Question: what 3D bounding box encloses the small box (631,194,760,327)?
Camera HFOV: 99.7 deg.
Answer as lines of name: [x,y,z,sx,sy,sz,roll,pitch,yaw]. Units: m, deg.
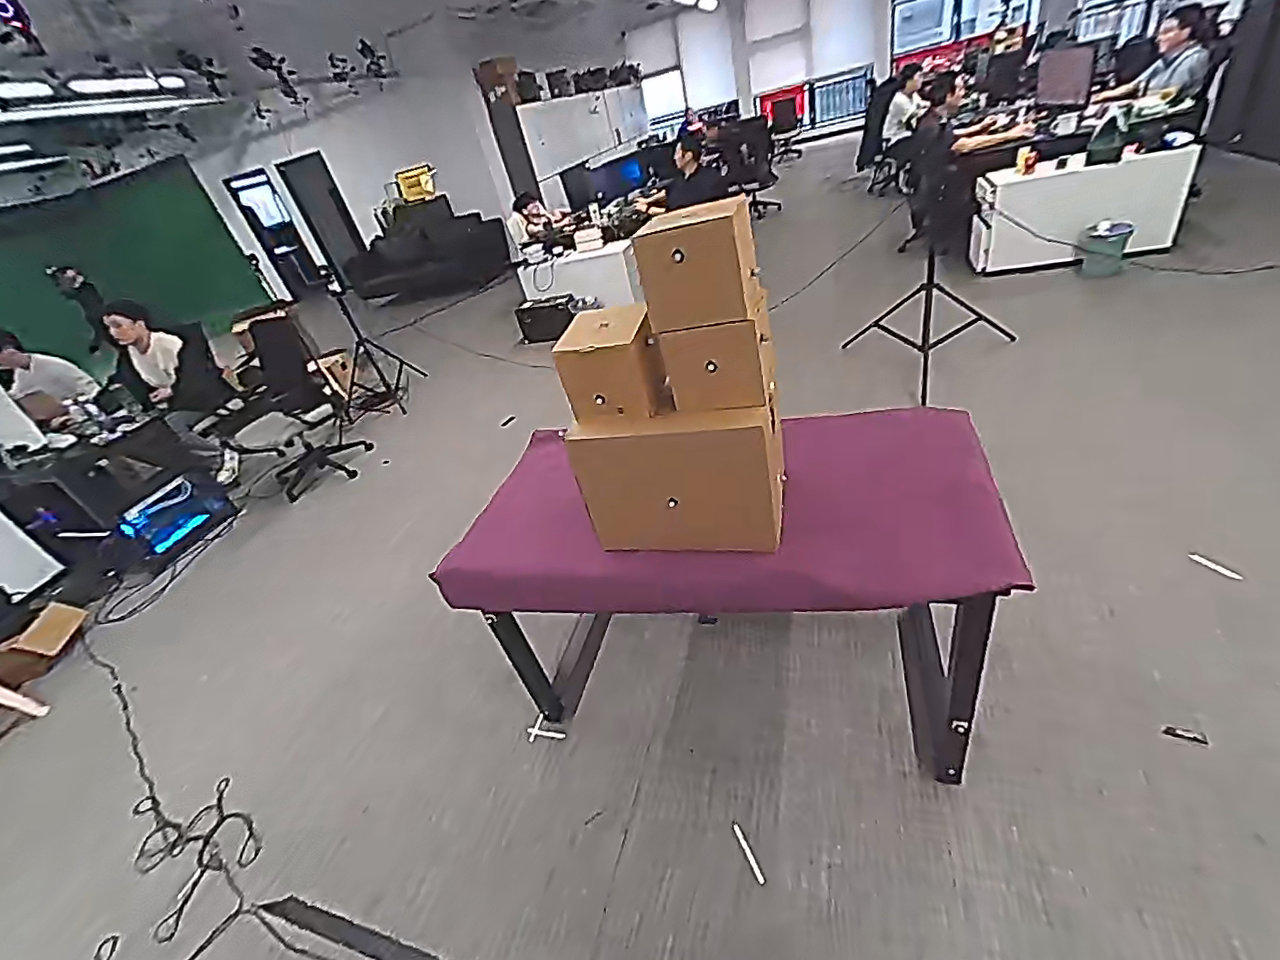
small box: [0.106,-0.383,0.958,0.179,0.176,0.168,-2,36,22]
